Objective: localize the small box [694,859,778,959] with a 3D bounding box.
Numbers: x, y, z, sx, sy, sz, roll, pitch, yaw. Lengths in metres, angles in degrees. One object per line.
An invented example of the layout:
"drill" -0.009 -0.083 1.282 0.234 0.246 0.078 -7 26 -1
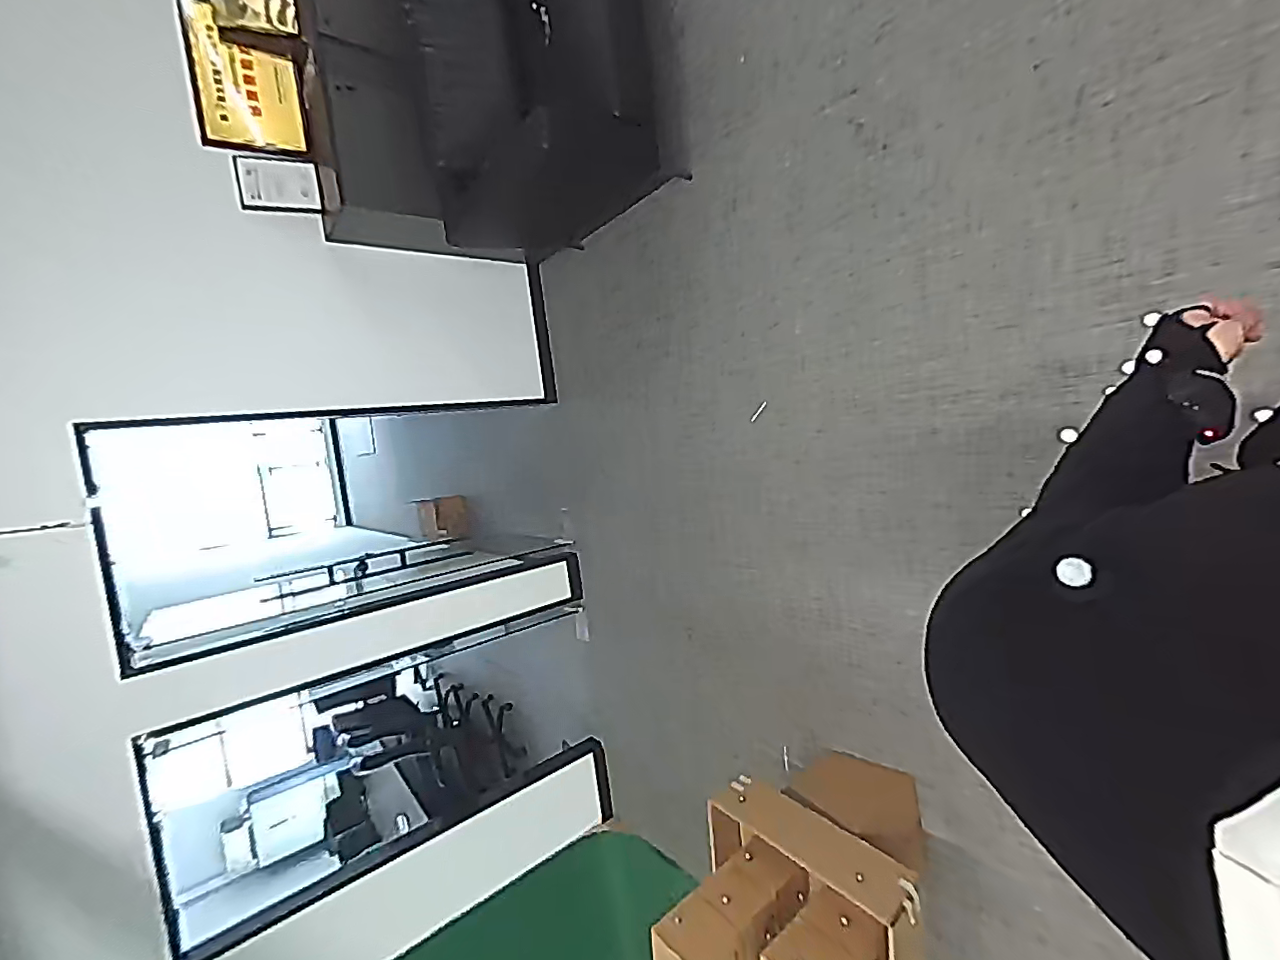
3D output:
"small box" 0.280 1.253 1.572 0.179 0.176 0.168 1 98 49

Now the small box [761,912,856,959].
"small box" 0.433 1.265 1.377 0.179 0.176 0.168 4 100 52

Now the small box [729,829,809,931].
"small box" 0.401 1.230 1.676 0.179 0.176 0.168 3 101 50
